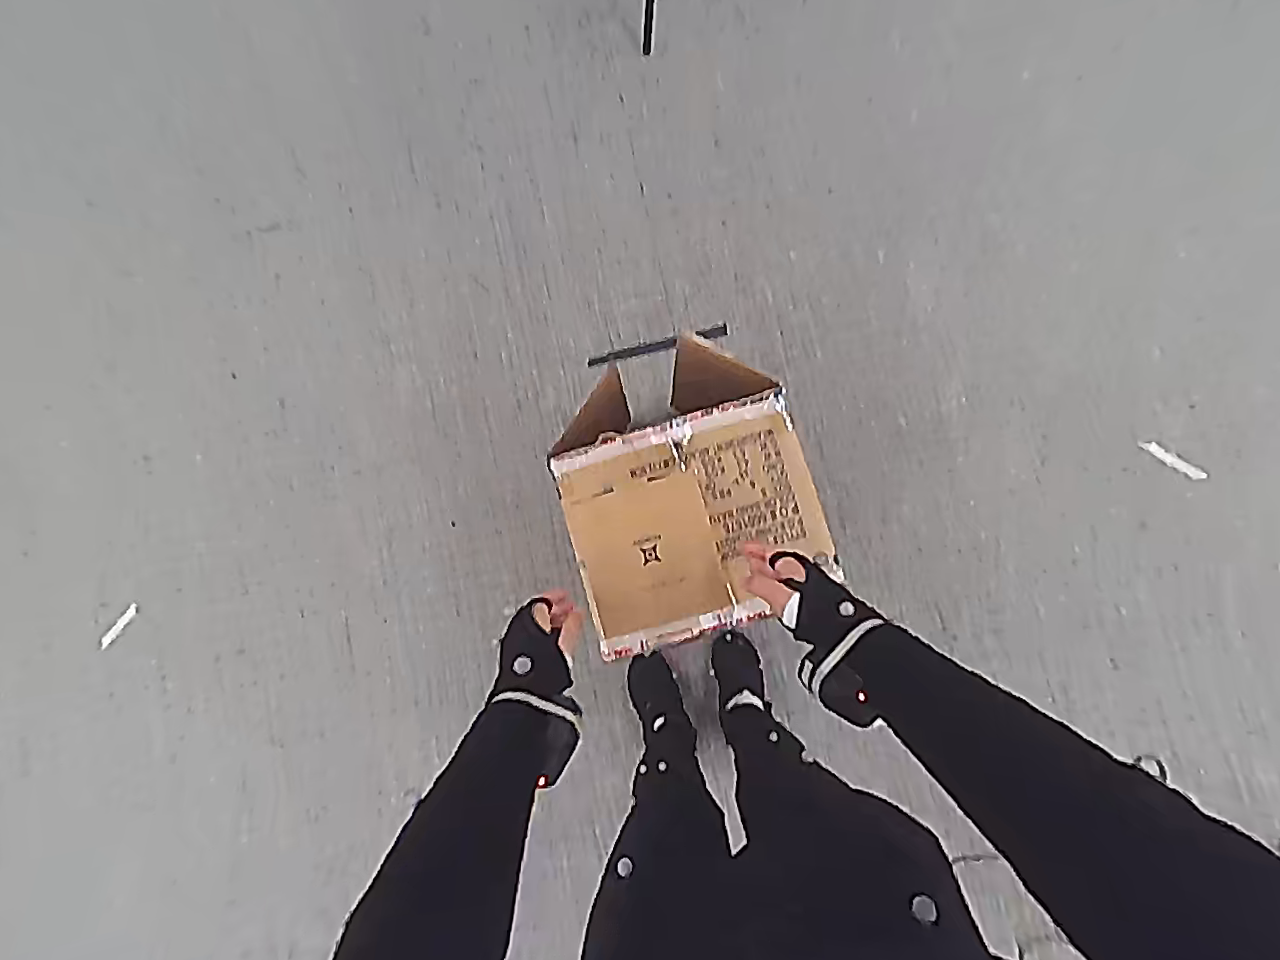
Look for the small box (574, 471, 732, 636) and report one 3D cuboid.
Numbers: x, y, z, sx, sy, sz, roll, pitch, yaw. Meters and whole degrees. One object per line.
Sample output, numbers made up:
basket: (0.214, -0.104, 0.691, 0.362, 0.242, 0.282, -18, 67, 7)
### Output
small box: (0.017, 0.097, 0.757, 0.168, 0.176, 0.179, -16, 87, 2)
